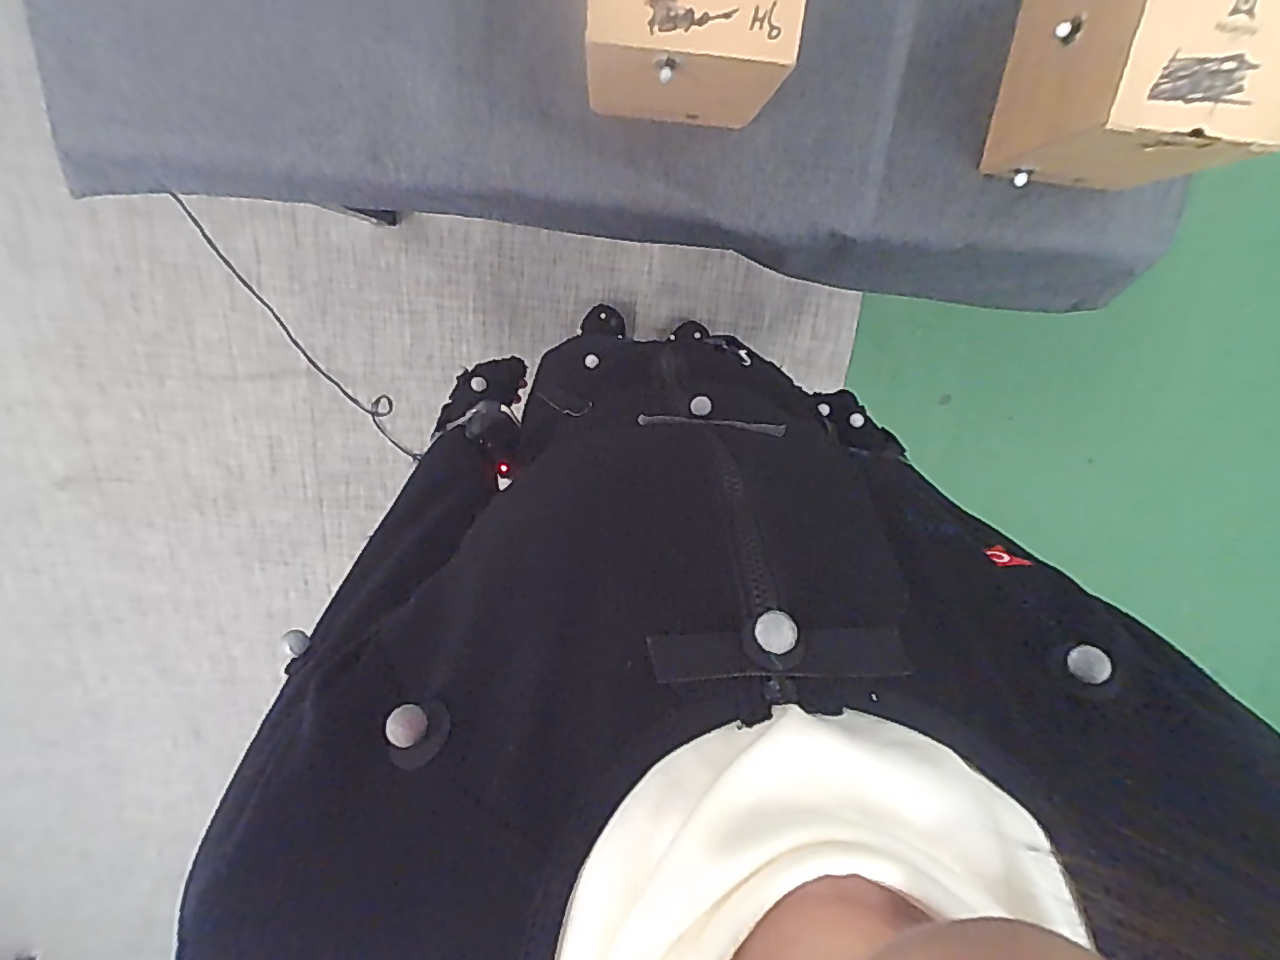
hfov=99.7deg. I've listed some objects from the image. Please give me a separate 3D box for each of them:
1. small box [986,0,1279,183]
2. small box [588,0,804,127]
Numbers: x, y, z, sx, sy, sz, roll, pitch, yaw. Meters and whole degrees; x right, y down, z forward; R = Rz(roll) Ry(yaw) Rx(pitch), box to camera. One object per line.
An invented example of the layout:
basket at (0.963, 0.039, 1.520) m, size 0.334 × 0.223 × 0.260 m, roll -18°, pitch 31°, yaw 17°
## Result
small box at (0.466, -0.395, 0.504) m, size 0.168 × 0.176 × 0.179 m, roll 5°, pitch 107°, yaw -4°
small box at (0.043, -0.438, 0.466) m, size 0.168 × 0.176 × 0.179 m, roll 3°, pitch 108°, yaw -4°
